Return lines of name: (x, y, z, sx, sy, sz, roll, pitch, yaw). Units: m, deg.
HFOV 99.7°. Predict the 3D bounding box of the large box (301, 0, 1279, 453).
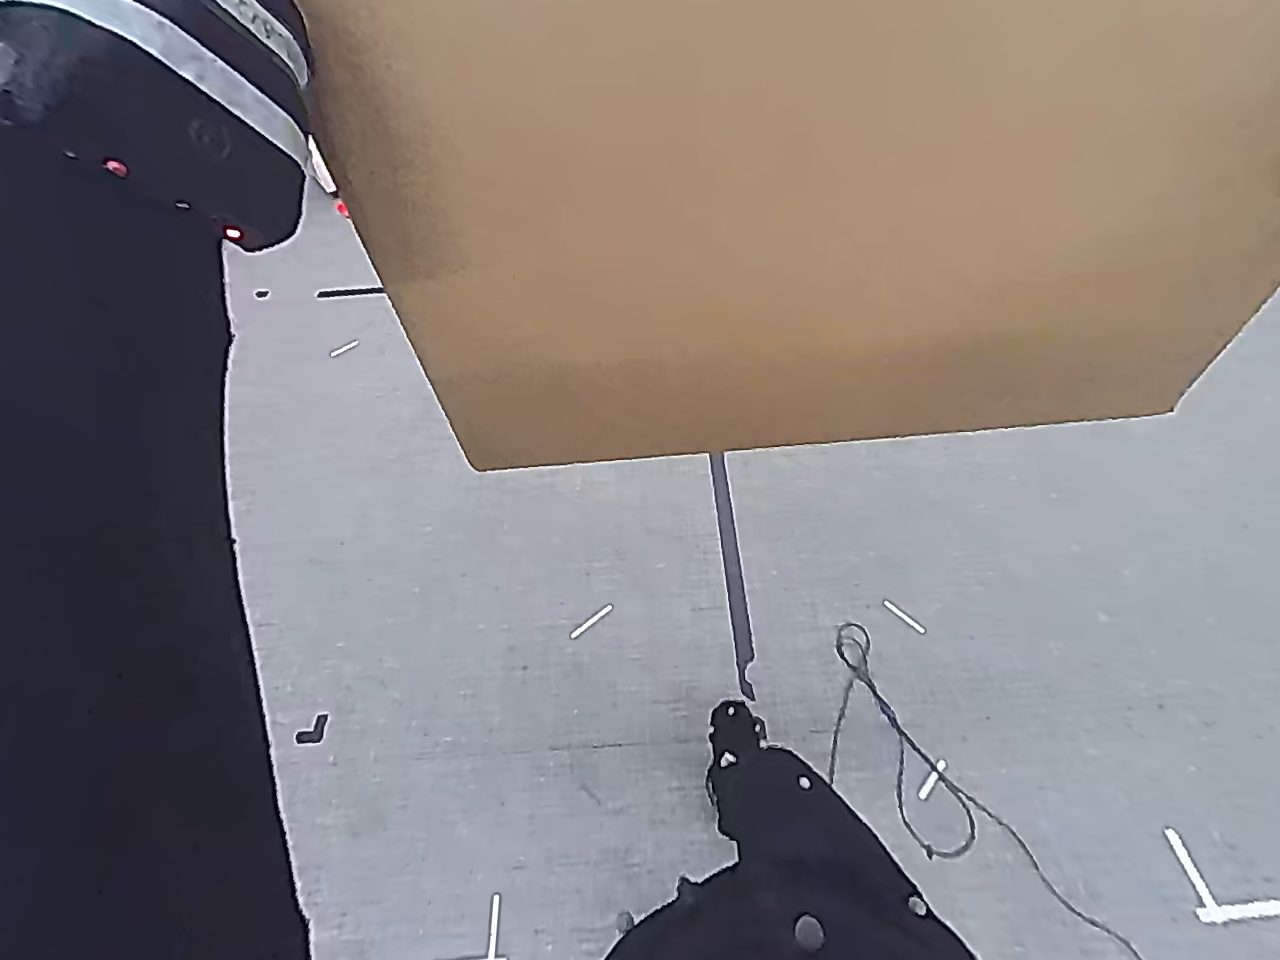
large box: (0.078, -0.242, 0.317, 0.408, 0.320, 0.320, -5, 49, 1)
